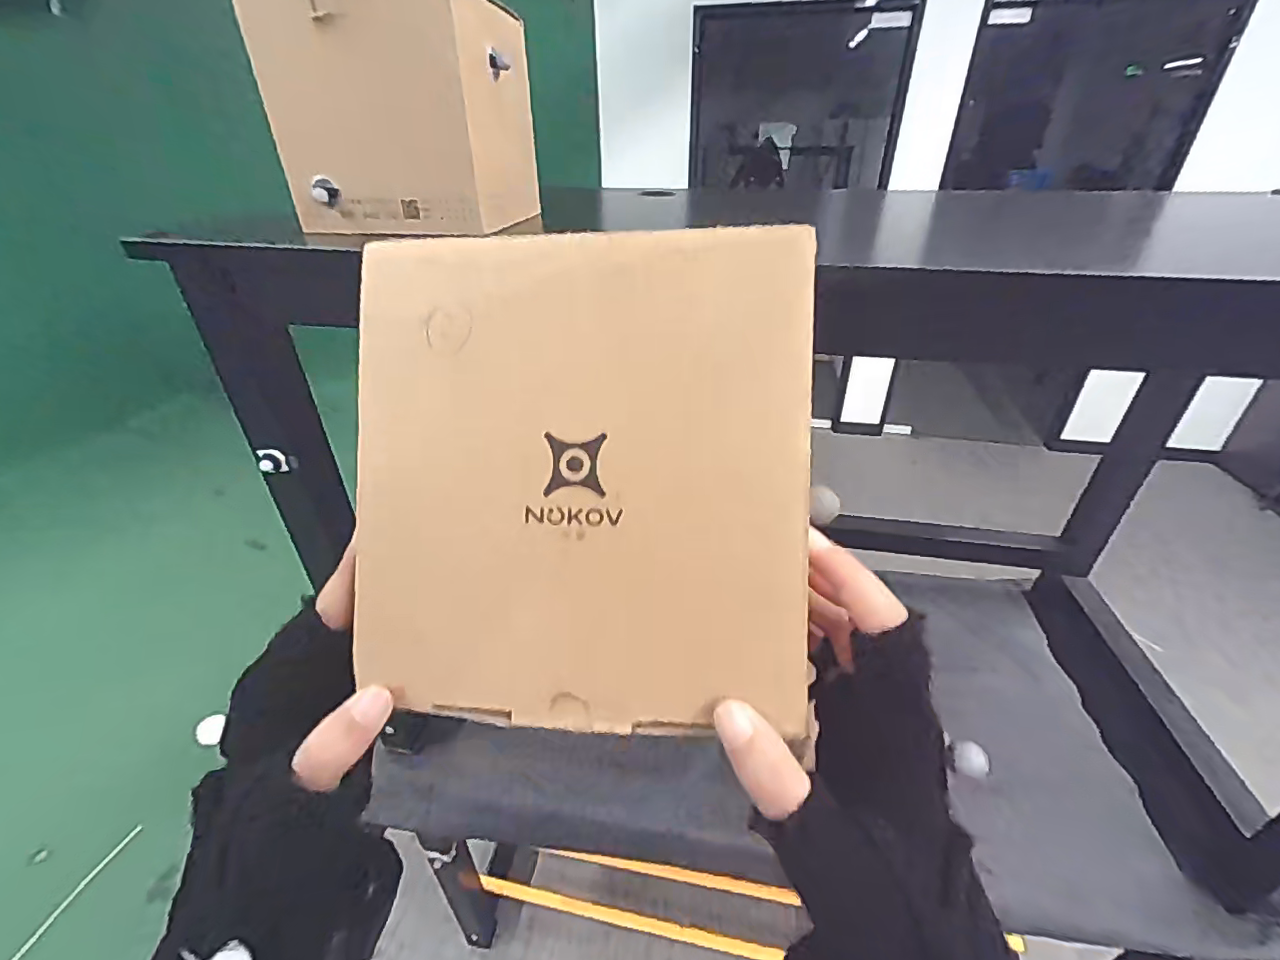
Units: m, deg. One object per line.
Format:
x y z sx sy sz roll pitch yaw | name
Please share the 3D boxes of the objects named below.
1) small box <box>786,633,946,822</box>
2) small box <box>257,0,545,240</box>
0.312 0.354 0.789 0.168 0.176 0.179 4 31 8 | small box
-0.190 -0.322 0.498 0.168 0.176 0.179 4 31 5 | small box
